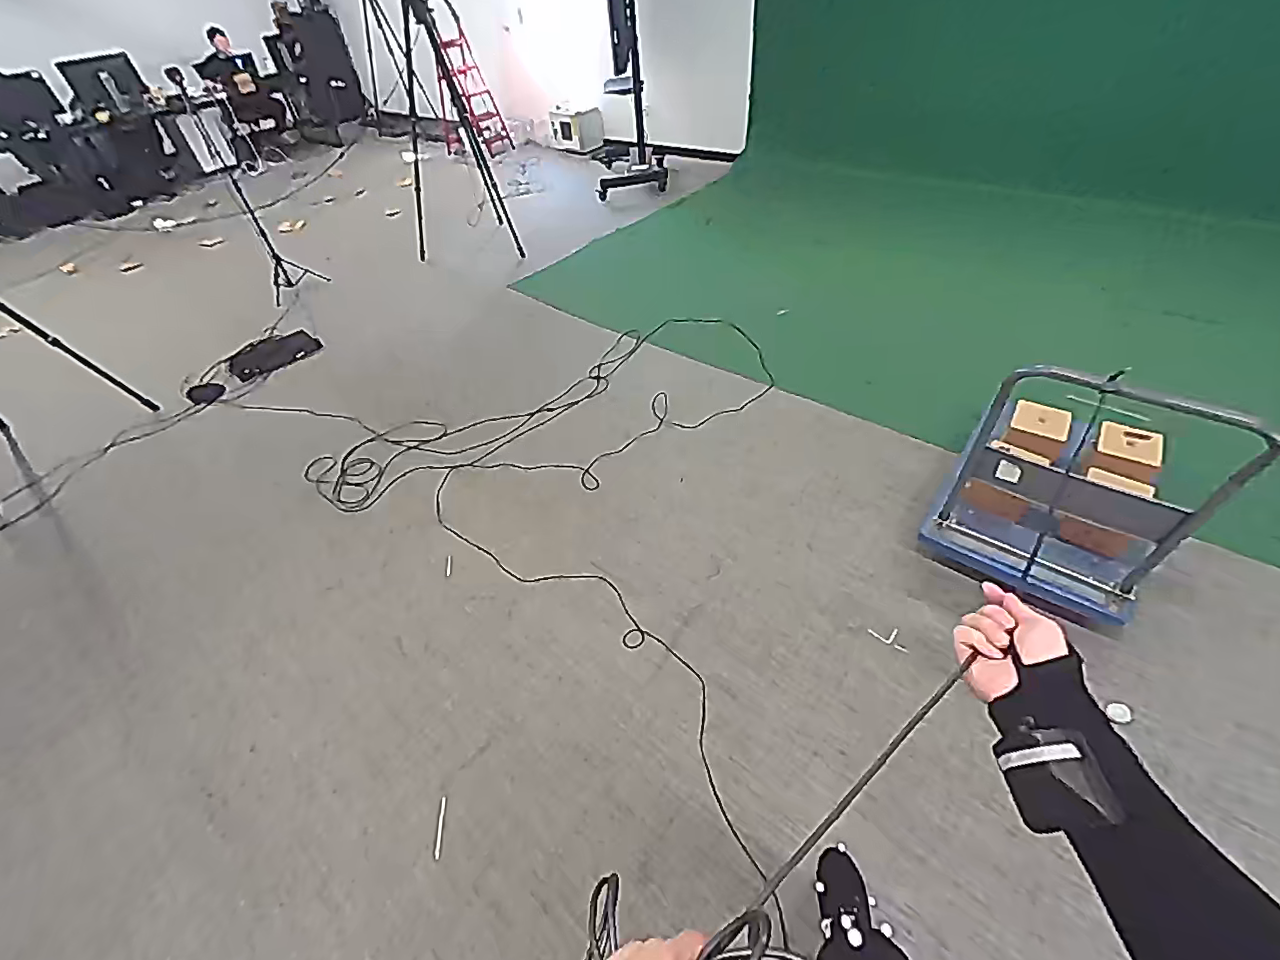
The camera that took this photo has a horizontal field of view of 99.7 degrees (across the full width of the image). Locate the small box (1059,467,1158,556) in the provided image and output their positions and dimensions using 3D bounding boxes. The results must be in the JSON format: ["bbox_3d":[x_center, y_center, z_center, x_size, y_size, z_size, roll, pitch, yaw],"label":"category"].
[{"bbox_3d":[1.431,0.096,1.659,0.168,0.176,0.179,28,55,30],"label":"small box"}]

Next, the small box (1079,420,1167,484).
[{"bbox_3d":[1.599,-0.065,1.796,0.168,0.176,0.179,23,53,28],"label":"small box"}]

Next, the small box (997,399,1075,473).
[{"bbox_3d":[1.392,-0.151,1.911,0.168,0.176,0.179,24,53,27],"label":"small box"}]
